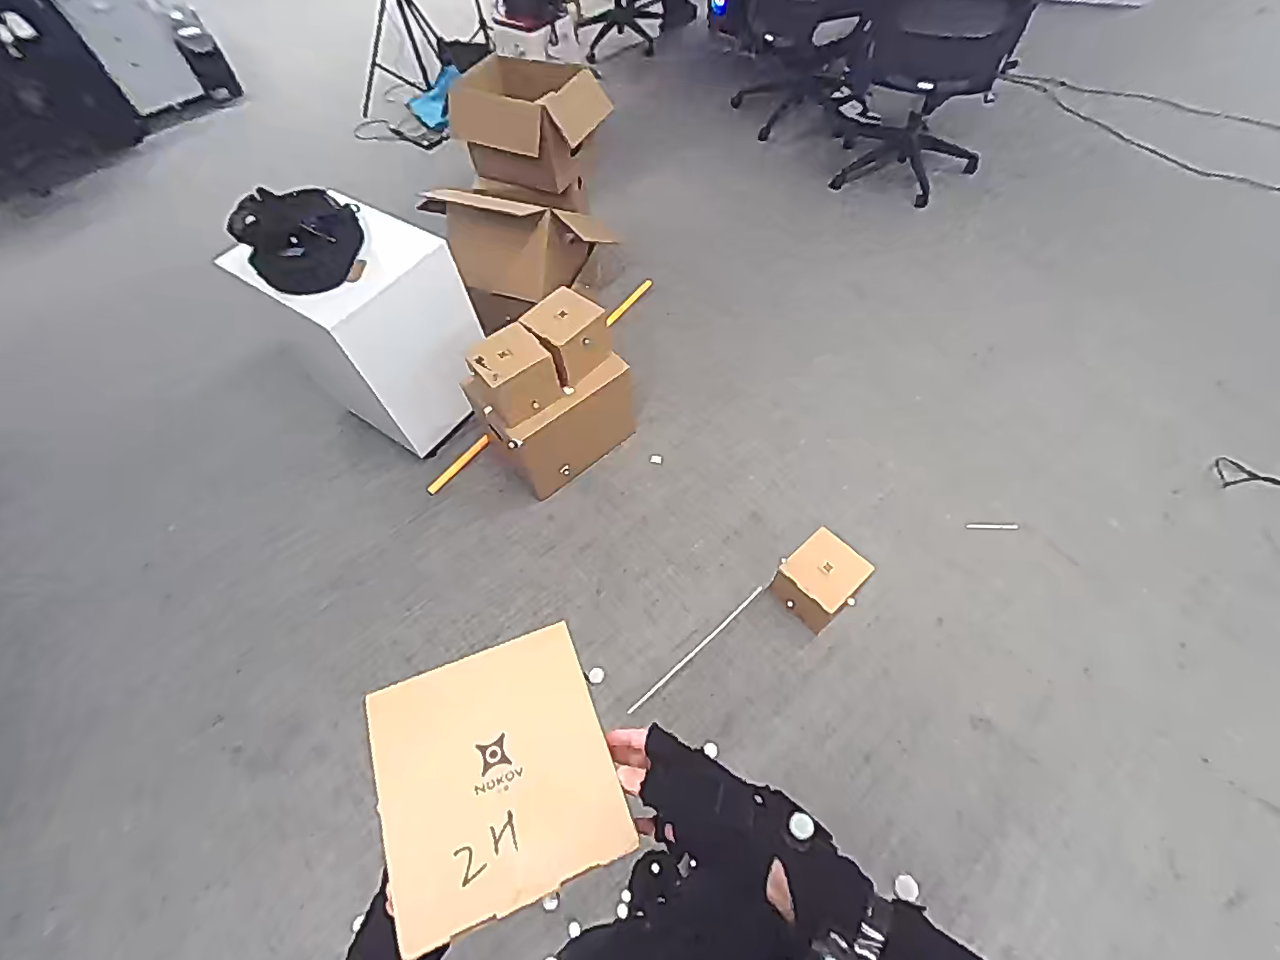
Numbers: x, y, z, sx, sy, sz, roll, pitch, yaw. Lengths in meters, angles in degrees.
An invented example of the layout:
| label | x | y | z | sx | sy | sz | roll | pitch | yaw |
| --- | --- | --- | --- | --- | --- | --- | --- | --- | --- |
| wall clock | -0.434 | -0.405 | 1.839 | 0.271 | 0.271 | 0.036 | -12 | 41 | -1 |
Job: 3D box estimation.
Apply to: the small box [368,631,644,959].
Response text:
| label | x | y | z | sx | sy | sz | roll | pitch | yaw |
| --- | --- | --- | --- | --- | --- | --- | --- | --- | --- |
| small box | -0.106 | 0.258 | 0.459 | 0.168 | 0.176 | 0.179 | -18 | 62 | -12 |

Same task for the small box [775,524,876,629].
| label | x | y | z | sx | sy | sz | roll | pitch | yaw |
| --- | --- | --- | --- | --- | --- | --- | --- | --- | --- |
| small box | 0.470 | 0.253 | 1.400 | 0.179 | 0.176 | 0.168 | -39 | 64 | -17 |
